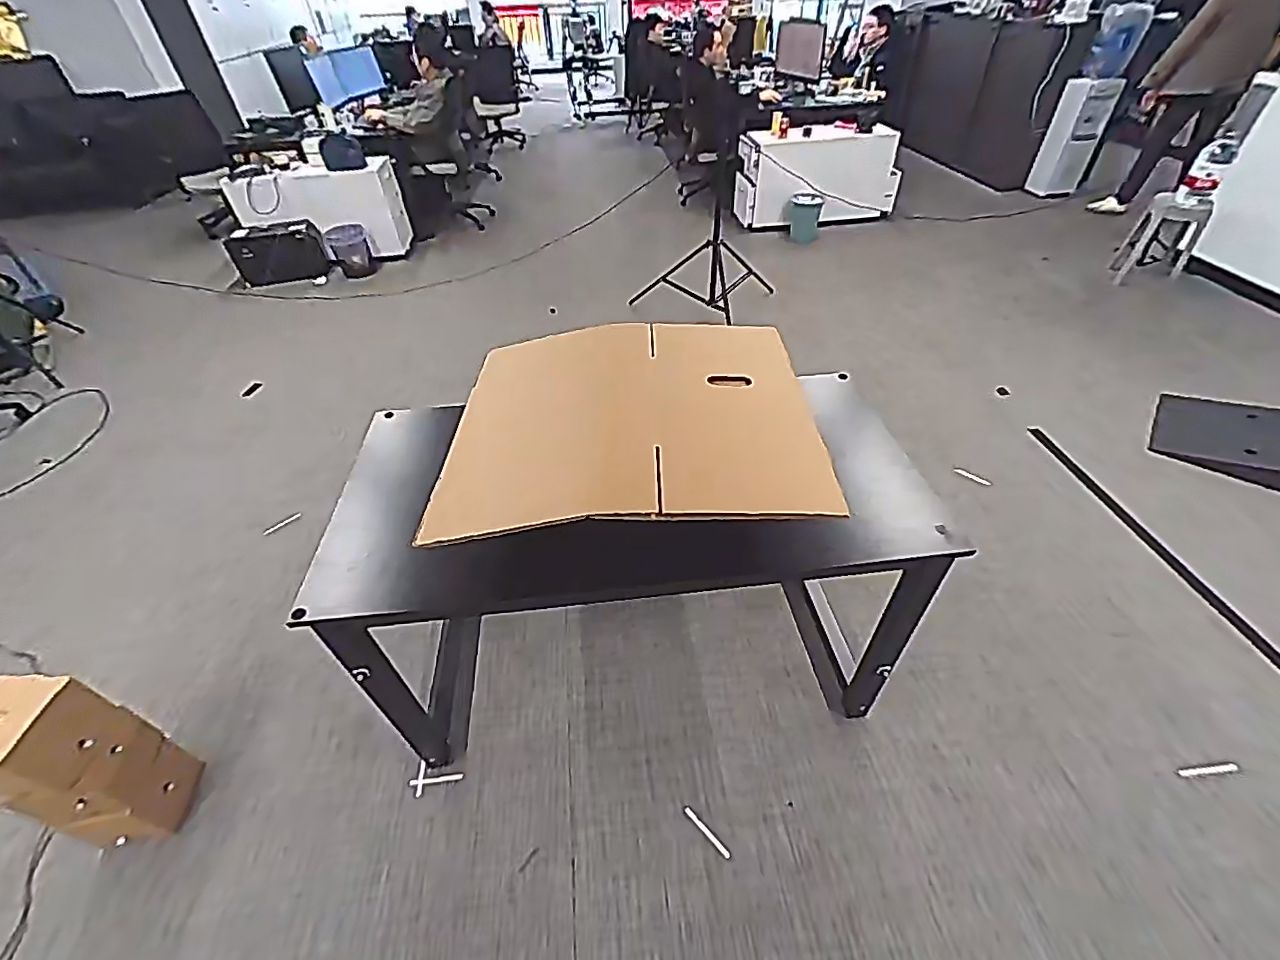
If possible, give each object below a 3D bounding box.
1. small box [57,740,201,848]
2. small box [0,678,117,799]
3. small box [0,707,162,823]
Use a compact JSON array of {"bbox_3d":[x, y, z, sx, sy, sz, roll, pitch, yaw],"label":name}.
[{"bbox_3d":[-1.236,0.772,1.330,0.168,0.176,0.179,-8,44,-6],"label":"small box"},{"bbox_3d":[-1.248,0.530,1.112,0.168,0.176,0.179,-1,42,2],"label":"small box"},{"bbox_3d":[-1.244,0.650,1.223,0.168,0.176,0.179,-10,42,-9],"label":"small box"}]
